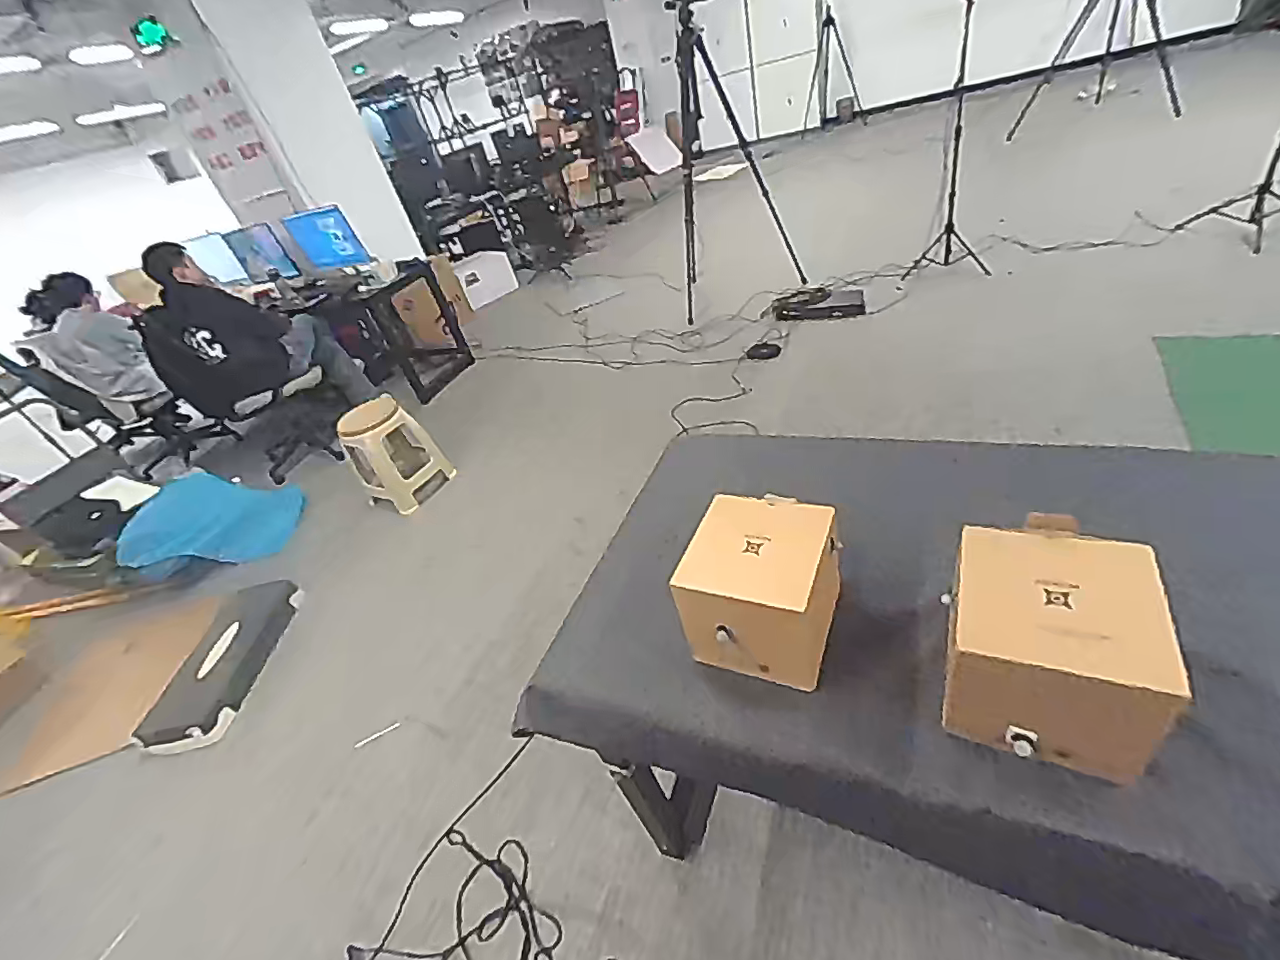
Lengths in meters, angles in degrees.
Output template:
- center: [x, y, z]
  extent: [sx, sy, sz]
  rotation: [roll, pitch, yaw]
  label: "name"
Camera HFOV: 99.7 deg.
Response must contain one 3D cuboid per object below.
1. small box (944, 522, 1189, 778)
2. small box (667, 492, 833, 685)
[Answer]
- center: [0.422, 0.171, 0.570]
  extent: [0.168, 0.176, 0.179]
  rotation: [5, 42, 29]
  label: "small box"
- center: [0.158, 0.140, 0.720]
  extent: [0.168, 0.176, 0.179]
  rotation: [6, 41, 29]
  label: "small box"
